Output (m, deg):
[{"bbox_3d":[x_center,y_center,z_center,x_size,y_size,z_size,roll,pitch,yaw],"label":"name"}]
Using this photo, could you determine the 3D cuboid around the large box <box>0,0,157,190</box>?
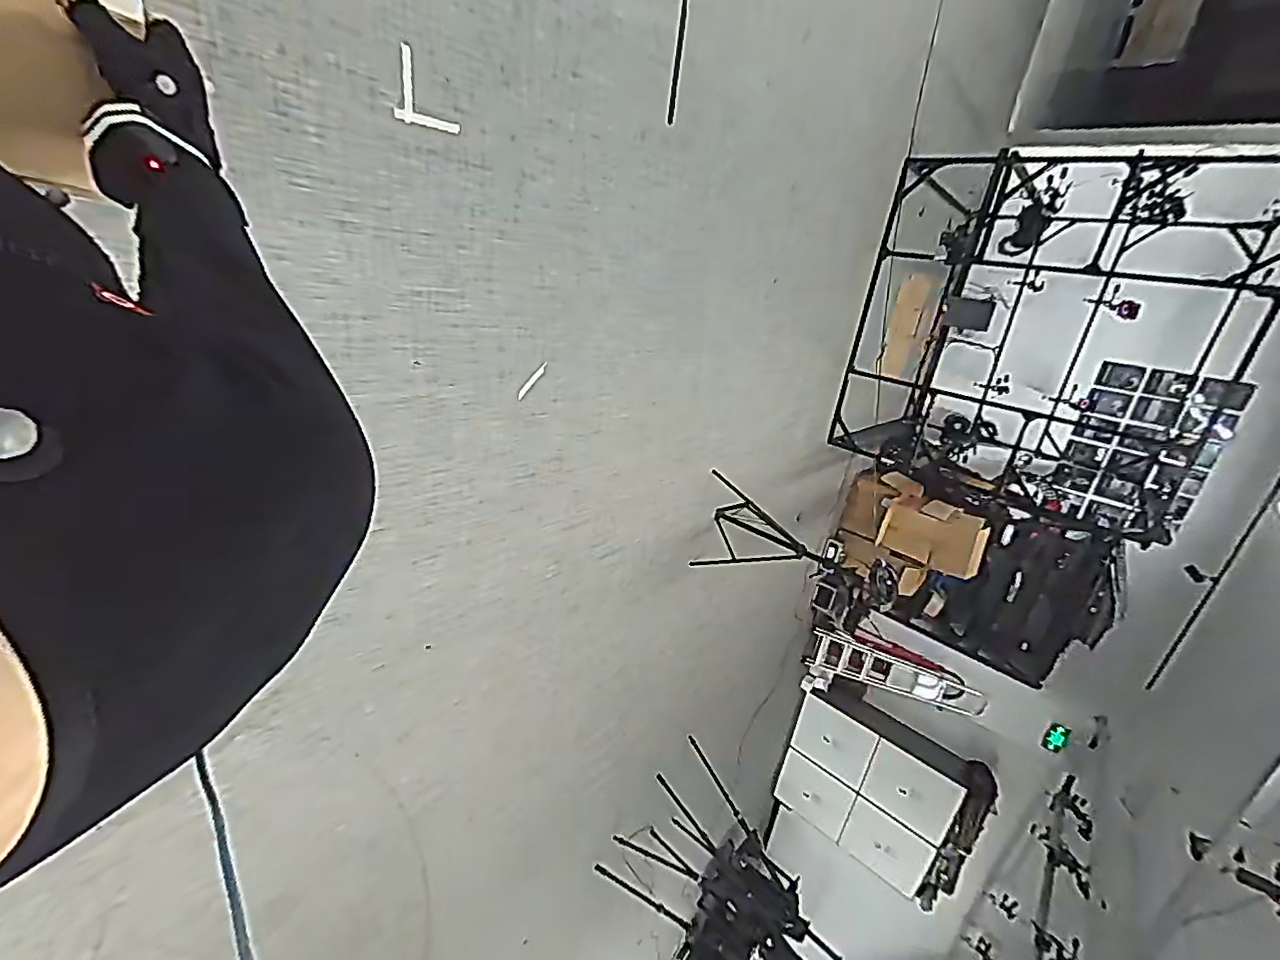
[{"bbox_3d":[-0.684,-0.444,0.416,0.408,0.320,0.320,-11,117,-50],"label":"large box"}]
